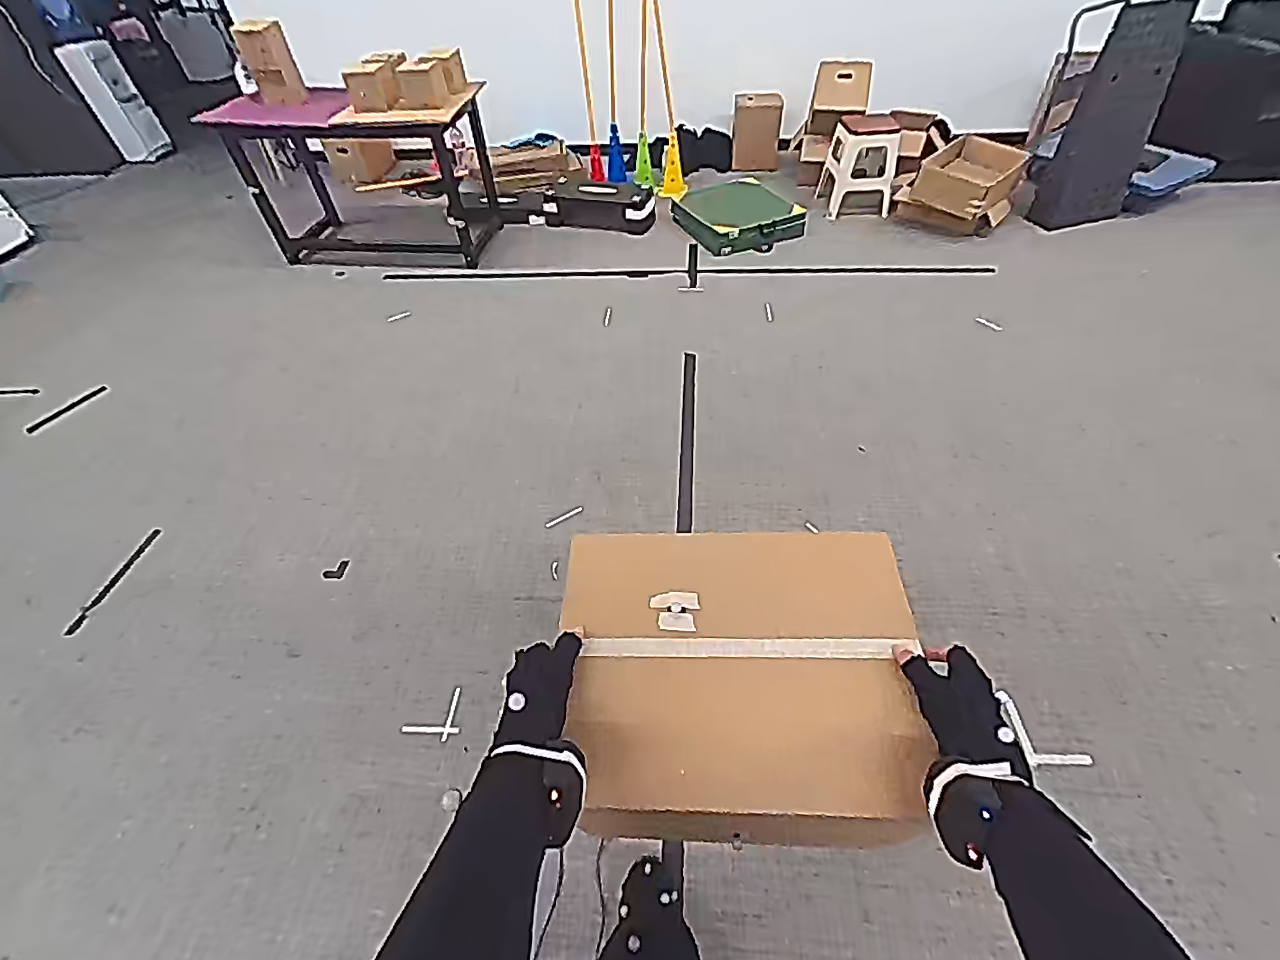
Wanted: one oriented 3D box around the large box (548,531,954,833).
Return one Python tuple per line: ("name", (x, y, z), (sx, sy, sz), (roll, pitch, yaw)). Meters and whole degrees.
("large box", (0.123, 0.284, 0.736), (0.408, 0.320, 0.320), (-1, 51, 5))
